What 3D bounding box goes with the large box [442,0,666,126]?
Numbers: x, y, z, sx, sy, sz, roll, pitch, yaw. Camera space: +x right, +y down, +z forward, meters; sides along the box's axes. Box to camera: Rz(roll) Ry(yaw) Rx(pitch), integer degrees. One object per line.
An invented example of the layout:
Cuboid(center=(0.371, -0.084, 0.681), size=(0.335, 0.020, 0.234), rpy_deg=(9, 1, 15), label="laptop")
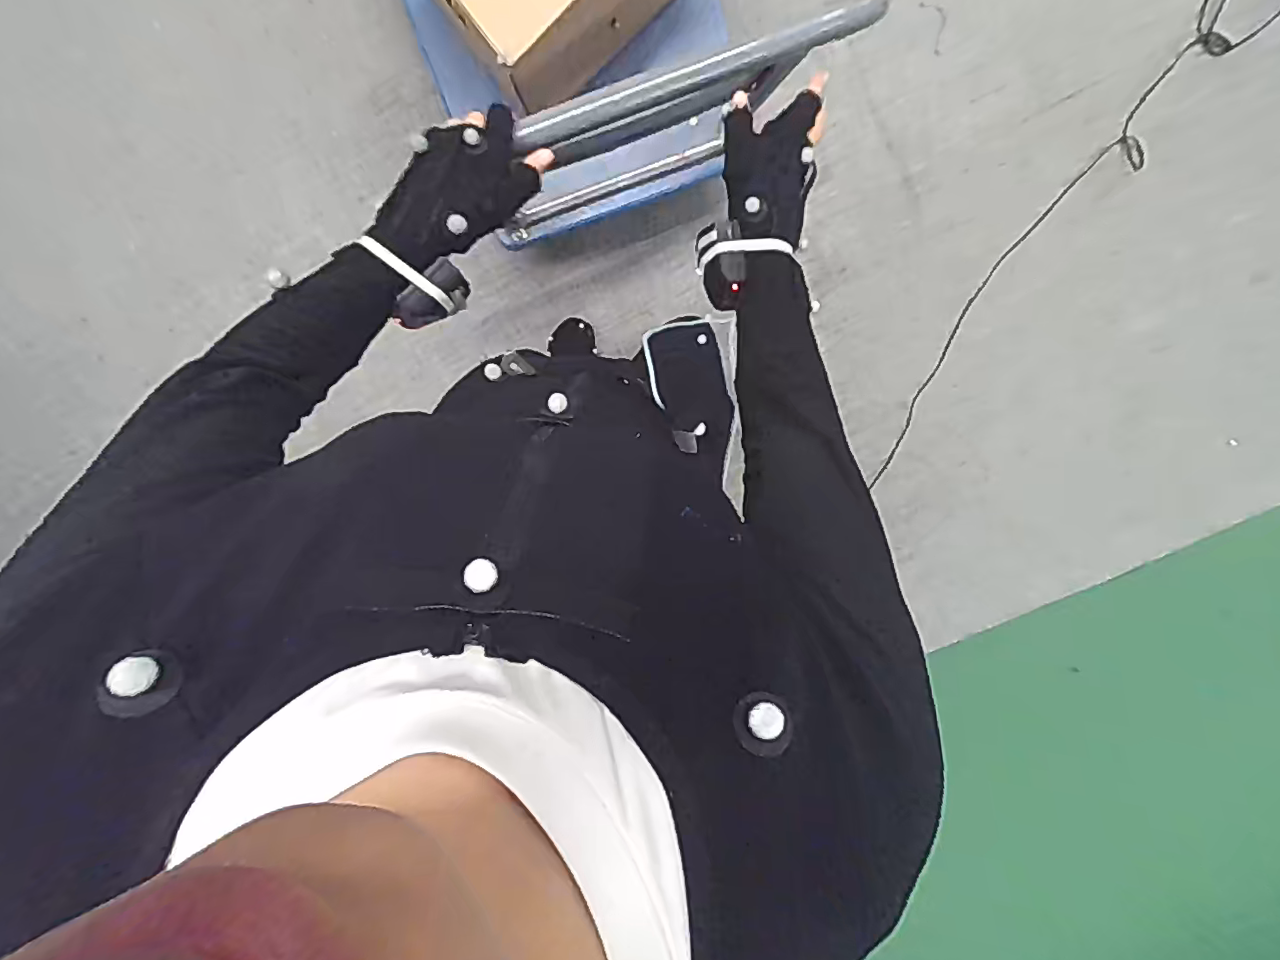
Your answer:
Cuboid(center=(-0.137, -0.903, 0.889), size=(0.408, 0.320, 0.320), rpy_deg=(-41, 104, 11), label="large box")
